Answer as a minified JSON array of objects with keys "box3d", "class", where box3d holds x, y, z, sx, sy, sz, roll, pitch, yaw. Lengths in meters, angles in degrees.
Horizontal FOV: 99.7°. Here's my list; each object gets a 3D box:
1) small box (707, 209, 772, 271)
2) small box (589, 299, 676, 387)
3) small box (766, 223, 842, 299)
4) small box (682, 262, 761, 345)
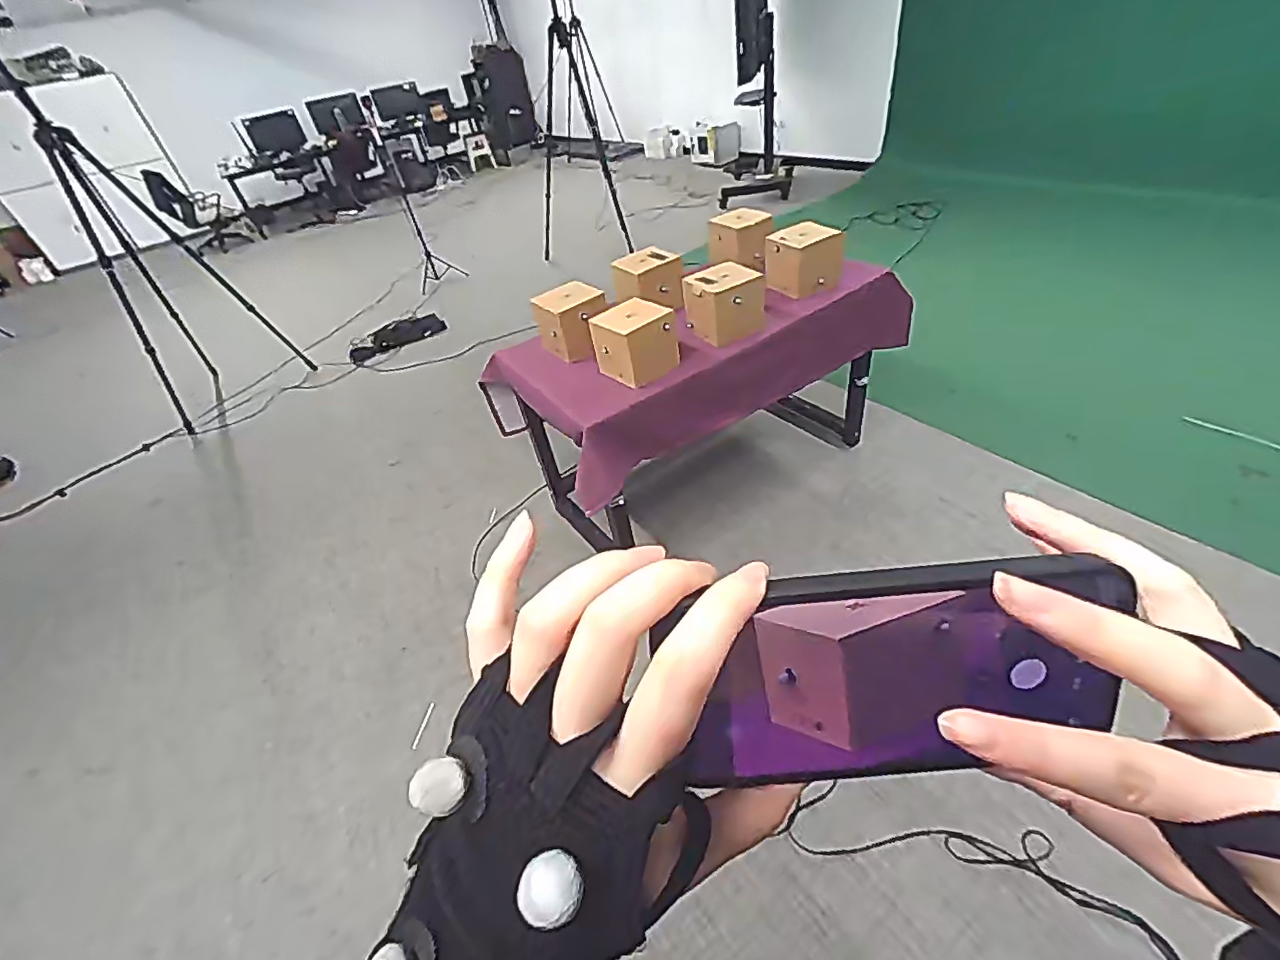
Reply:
[{"box3d":[0.363,-0.873,1.984,0.168,0.176,0.179,-28,44,-18],"class":"small box"},{"box3d":[-0.013,-0.384,1.517,0.179,0.176,0.168,-34,45,-26],"class":"small box"},{"box3d":[0.528,-0.716,1.769,0.179,0.176,0.168,-25,42,-16],"class":"small box"},{"box3d":[0.248,-0.526,1.617,0.179,0.176,0.168,-25,43,-17],"class":"small box"}]
